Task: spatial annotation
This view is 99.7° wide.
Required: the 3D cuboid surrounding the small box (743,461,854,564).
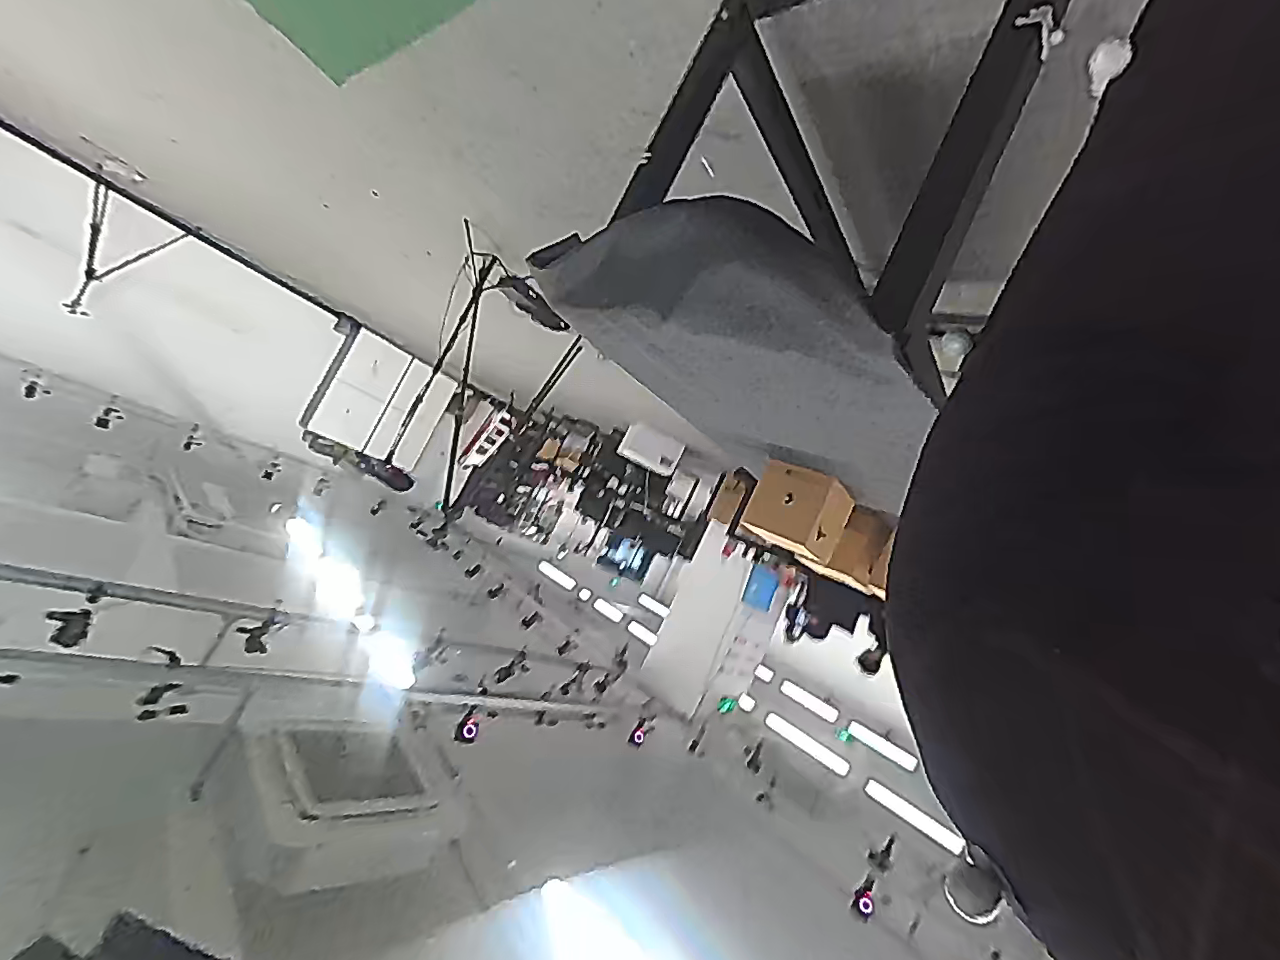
[{"bbox_3d":[0.373,0.073,1.263,0.168,0.176,0.179,22,173,40],"label":"small box"}]
